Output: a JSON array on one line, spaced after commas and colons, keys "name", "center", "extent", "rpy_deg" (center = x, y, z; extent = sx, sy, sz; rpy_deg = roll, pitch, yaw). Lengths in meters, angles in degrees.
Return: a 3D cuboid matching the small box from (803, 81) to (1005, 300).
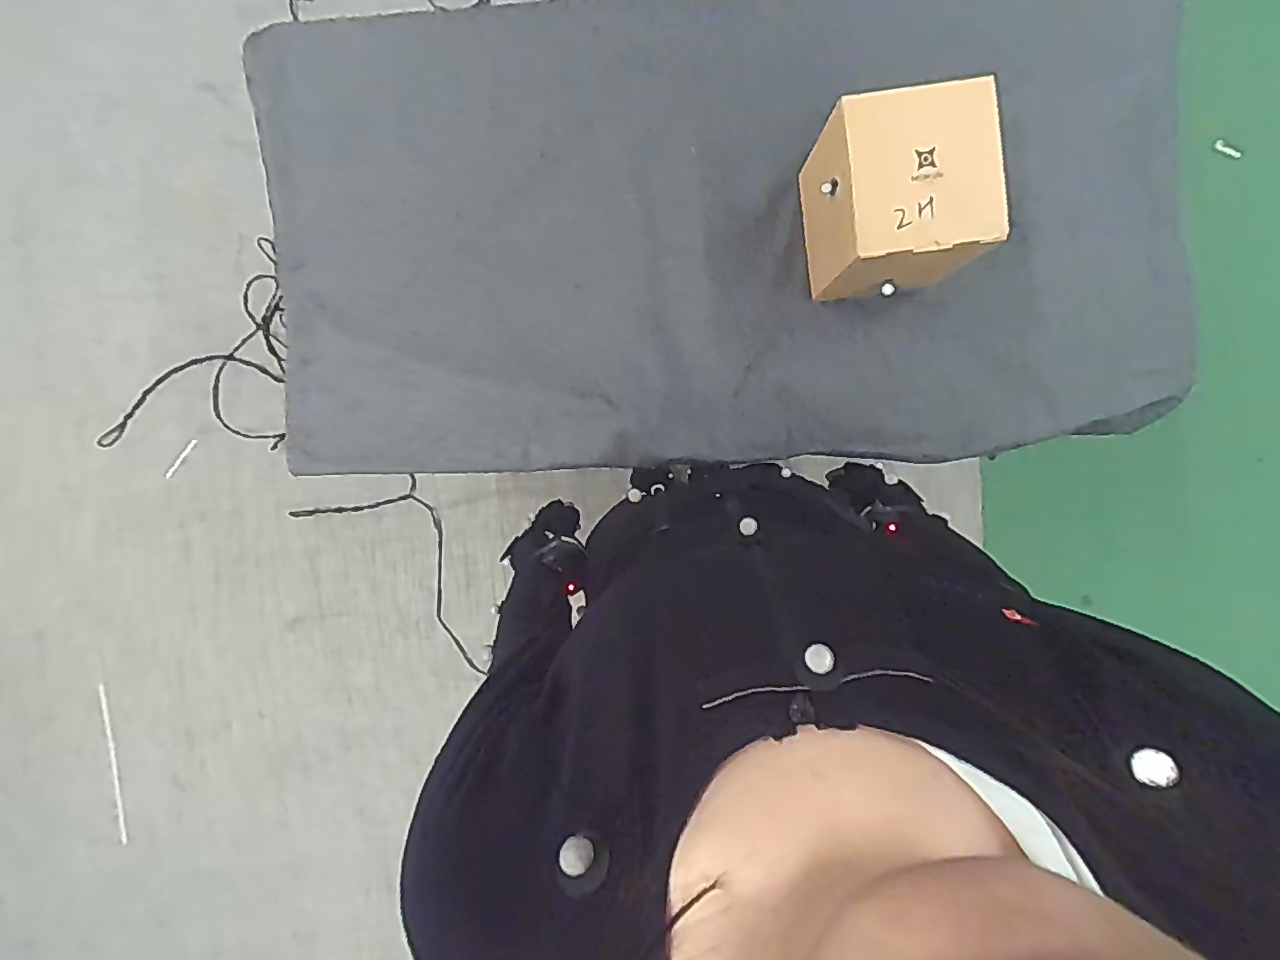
[{"name": "small box", "center": [0.310, -0.341, 0.669], "extent": [0.168, 0.176, 0.179], "rpy_deg": [-7, 92, 2]}]
